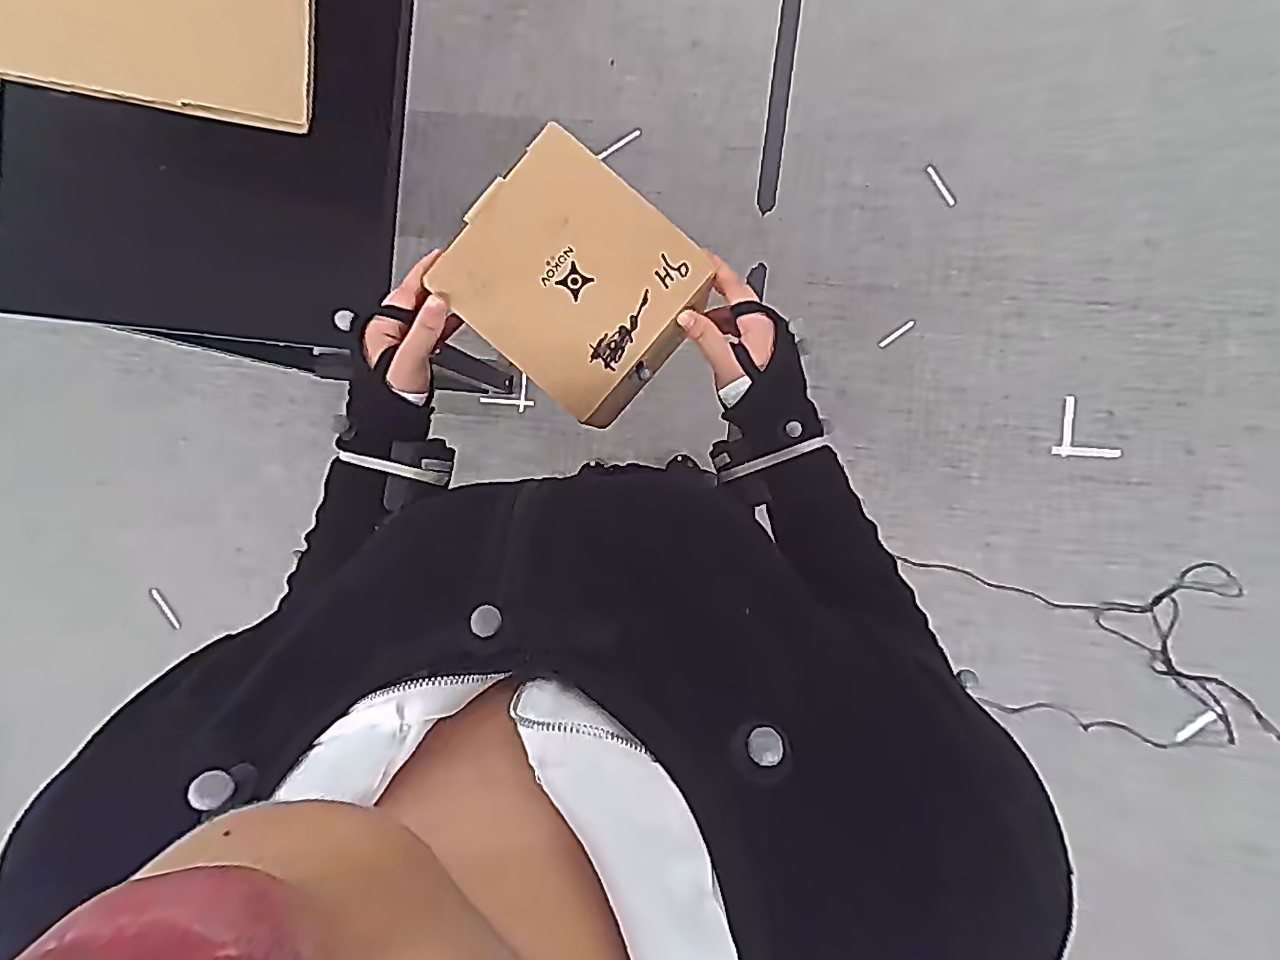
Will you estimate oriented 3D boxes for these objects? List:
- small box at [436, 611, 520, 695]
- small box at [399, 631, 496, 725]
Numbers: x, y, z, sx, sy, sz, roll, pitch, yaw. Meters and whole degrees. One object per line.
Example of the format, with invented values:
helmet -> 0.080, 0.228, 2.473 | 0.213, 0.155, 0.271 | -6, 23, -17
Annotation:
small box -> -0.435, 0.459, 1.458 | 0.179, 0.176, 0.168 | 2, 93, 2
small box -> -0.451, 0.467, 1.296 | 0.179, 0.176, 0.168 | -1, 91, 5
